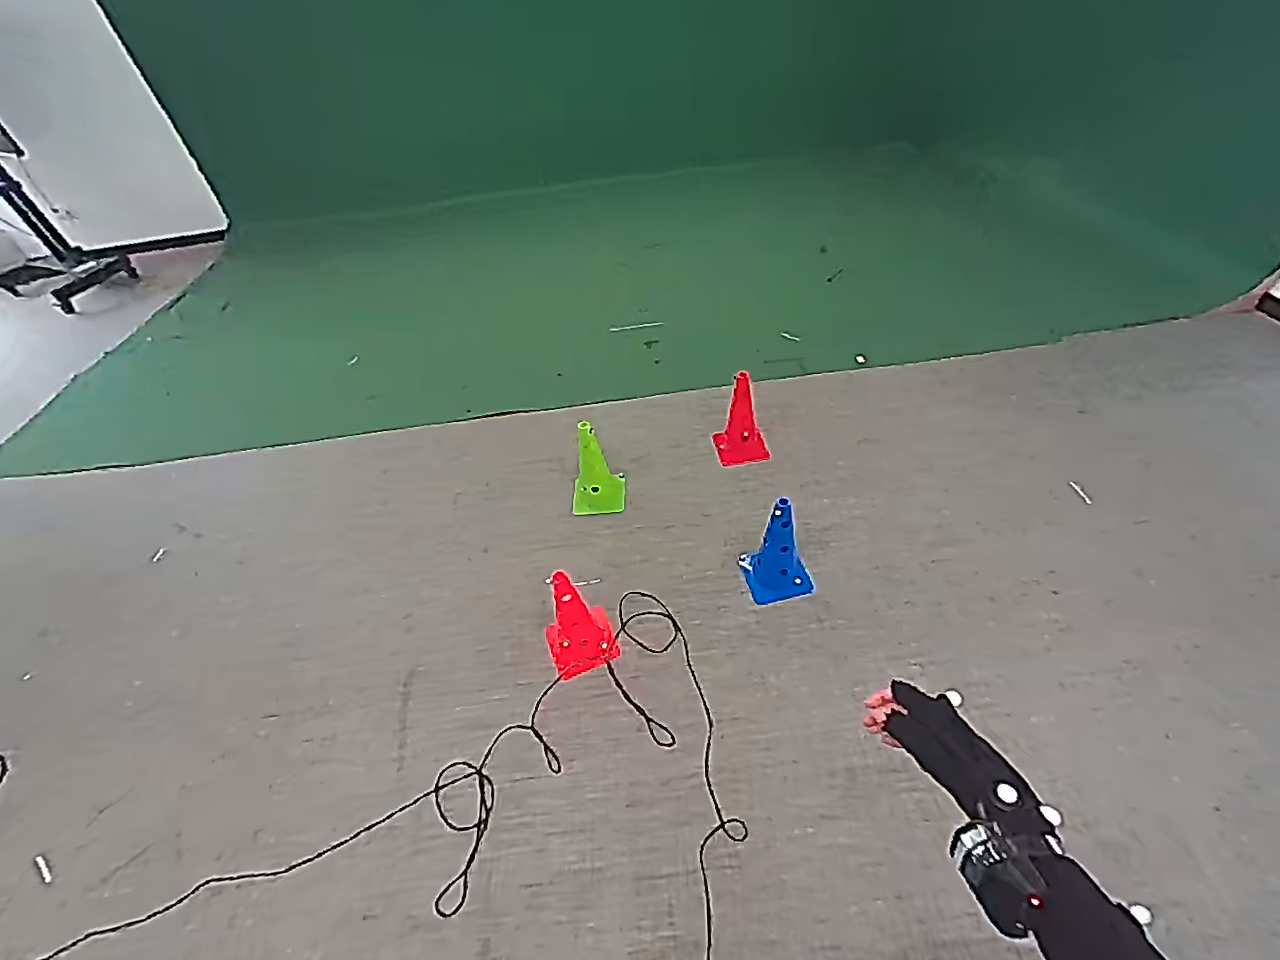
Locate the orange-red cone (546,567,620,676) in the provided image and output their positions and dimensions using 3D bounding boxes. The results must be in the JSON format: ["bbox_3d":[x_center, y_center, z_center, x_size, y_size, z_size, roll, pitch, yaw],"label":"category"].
[{"bbox_3d":[-0.196,0.370,1.555,0.198,0.360,0.199,-20,45,-13],"label":"orange-red cone"}]

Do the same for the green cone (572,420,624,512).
[{"bbox_3d":[-0.182,-0.075,1.989,0.200,0.368,0.202,-6,46,3],"label":"green cone"}]
